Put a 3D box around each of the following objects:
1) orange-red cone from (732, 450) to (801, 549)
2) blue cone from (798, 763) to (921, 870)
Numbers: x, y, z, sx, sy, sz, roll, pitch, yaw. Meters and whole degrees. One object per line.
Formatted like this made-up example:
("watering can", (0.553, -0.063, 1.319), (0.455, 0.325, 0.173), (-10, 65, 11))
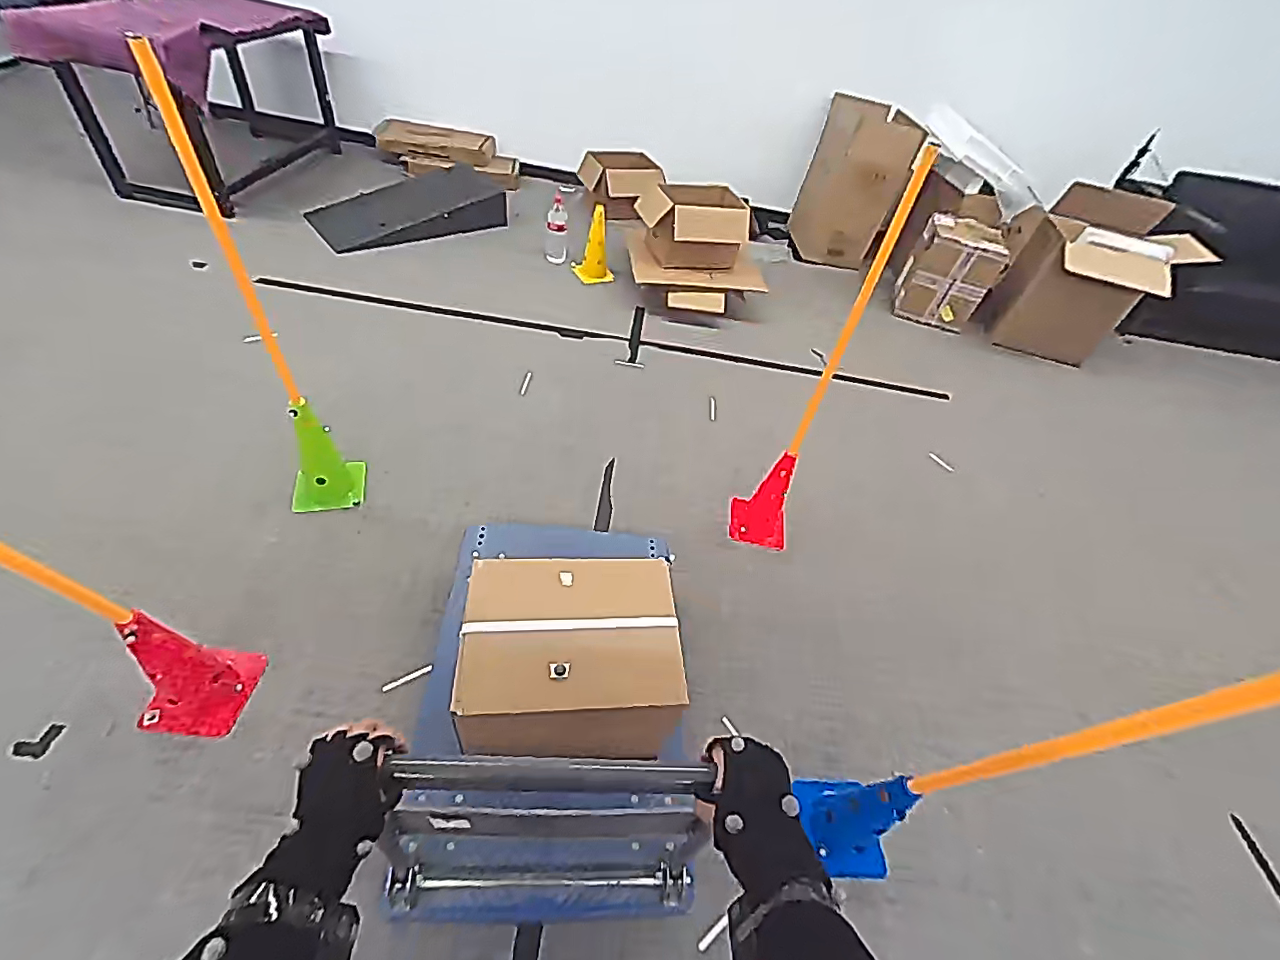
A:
("orange-red cone", (0.456, 0.036, 1.797), (0.199, 0.360, 0.198), (14, 47, 1))
("blue cone", (0.512, 0.714, 1.191), (0.193, 0.380, 0.192), (6, 45, -6))
